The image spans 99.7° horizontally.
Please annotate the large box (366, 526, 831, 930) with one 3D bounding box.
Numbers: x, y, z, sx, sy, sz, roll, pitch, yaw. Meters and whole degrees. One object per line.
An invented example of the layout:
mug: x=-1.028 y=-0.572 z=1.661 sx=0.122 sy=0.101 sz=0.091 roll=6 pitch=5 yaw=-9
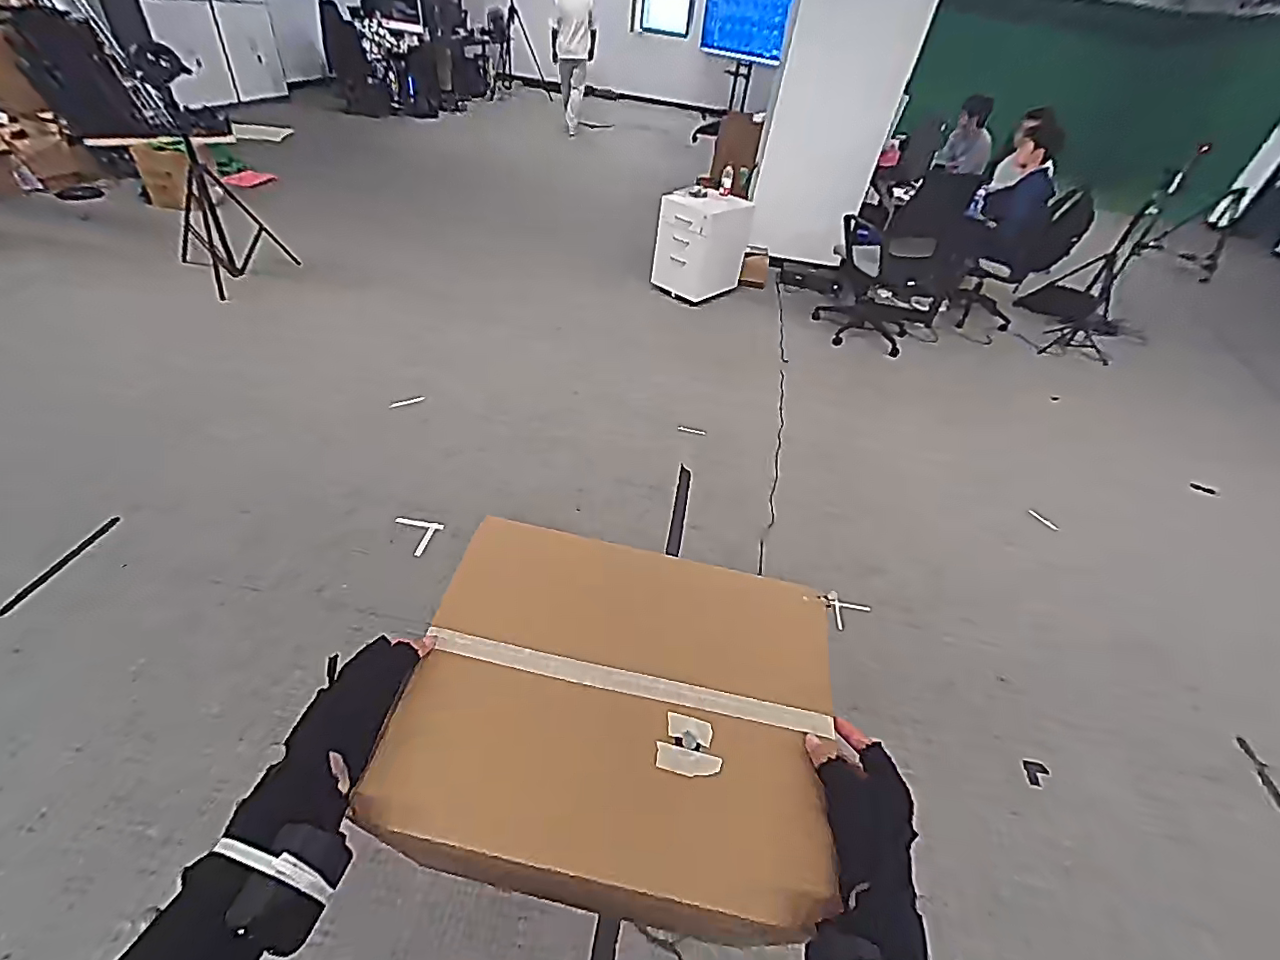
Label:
large box: x=-0.030 y=0.301 z=0.653 sx=0.408 sy=0.320 sz=0.320 roll=13 pitch=49 yaw=2
